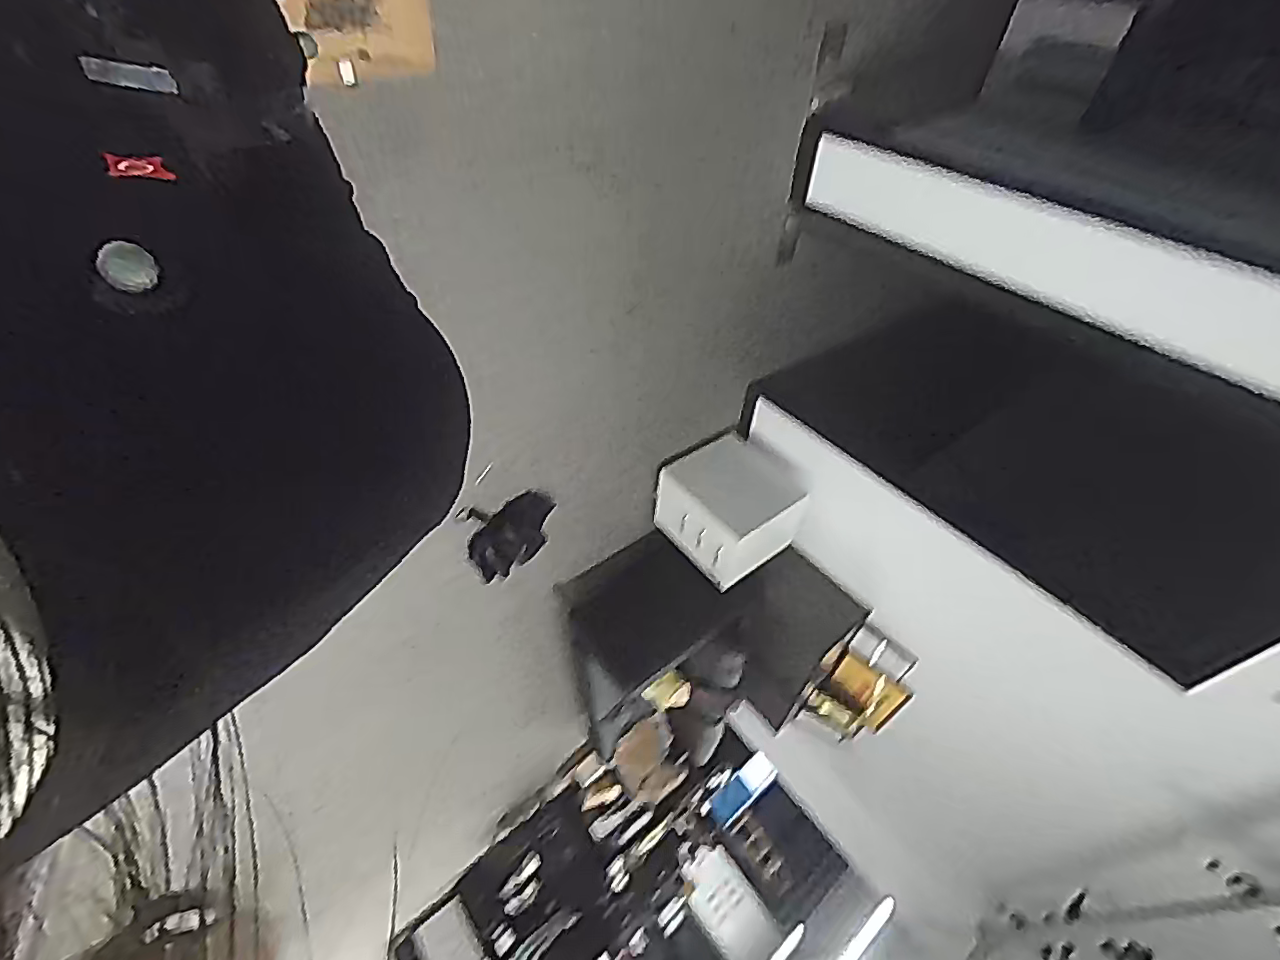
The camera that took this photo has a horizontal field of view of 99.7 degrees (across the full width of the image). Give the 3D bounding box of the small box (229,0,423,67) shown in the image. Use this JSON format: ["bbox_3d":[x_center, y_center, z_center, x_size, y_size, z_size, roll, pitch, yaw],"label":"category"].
[{"bbox_3d":[-0.362,-0.582,0.595,0.168,0.176,0.179,-25,142,-31],"label":"small box"}]
